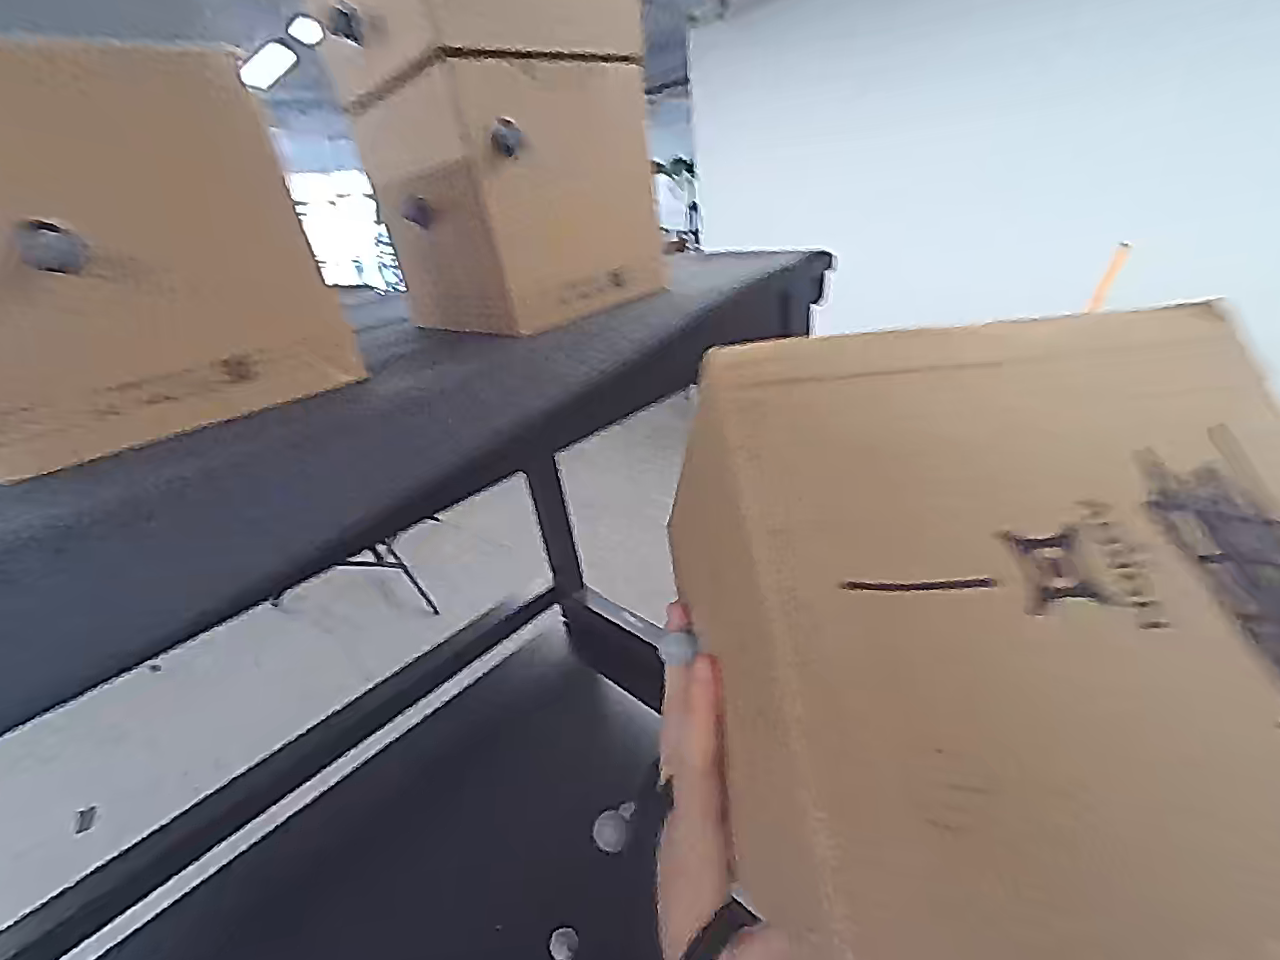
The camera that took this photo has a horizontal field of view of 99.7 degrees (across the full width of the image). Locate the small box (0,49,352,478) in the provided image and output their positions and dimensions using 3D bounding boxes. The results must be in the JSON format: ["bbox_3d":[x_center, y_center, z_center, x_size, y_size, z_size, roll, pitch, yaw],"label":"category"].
[{"bbox_3d":[-0.296,-0.117,0.307,0.168,0.176,0.179,-30,33,-35],"label":"small box"}]

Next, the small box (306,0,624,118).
[{"bbox_3d":[-0.127,-0.366,0.371,0.168,0.176,0.179,16,38,43],"label":"small box"}]

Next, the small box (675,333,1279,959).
[{"bbox_3d":[0.115,0.064,0.220,0.179,0.176,0.168,-6,64,-3],"label":"small box"}]
